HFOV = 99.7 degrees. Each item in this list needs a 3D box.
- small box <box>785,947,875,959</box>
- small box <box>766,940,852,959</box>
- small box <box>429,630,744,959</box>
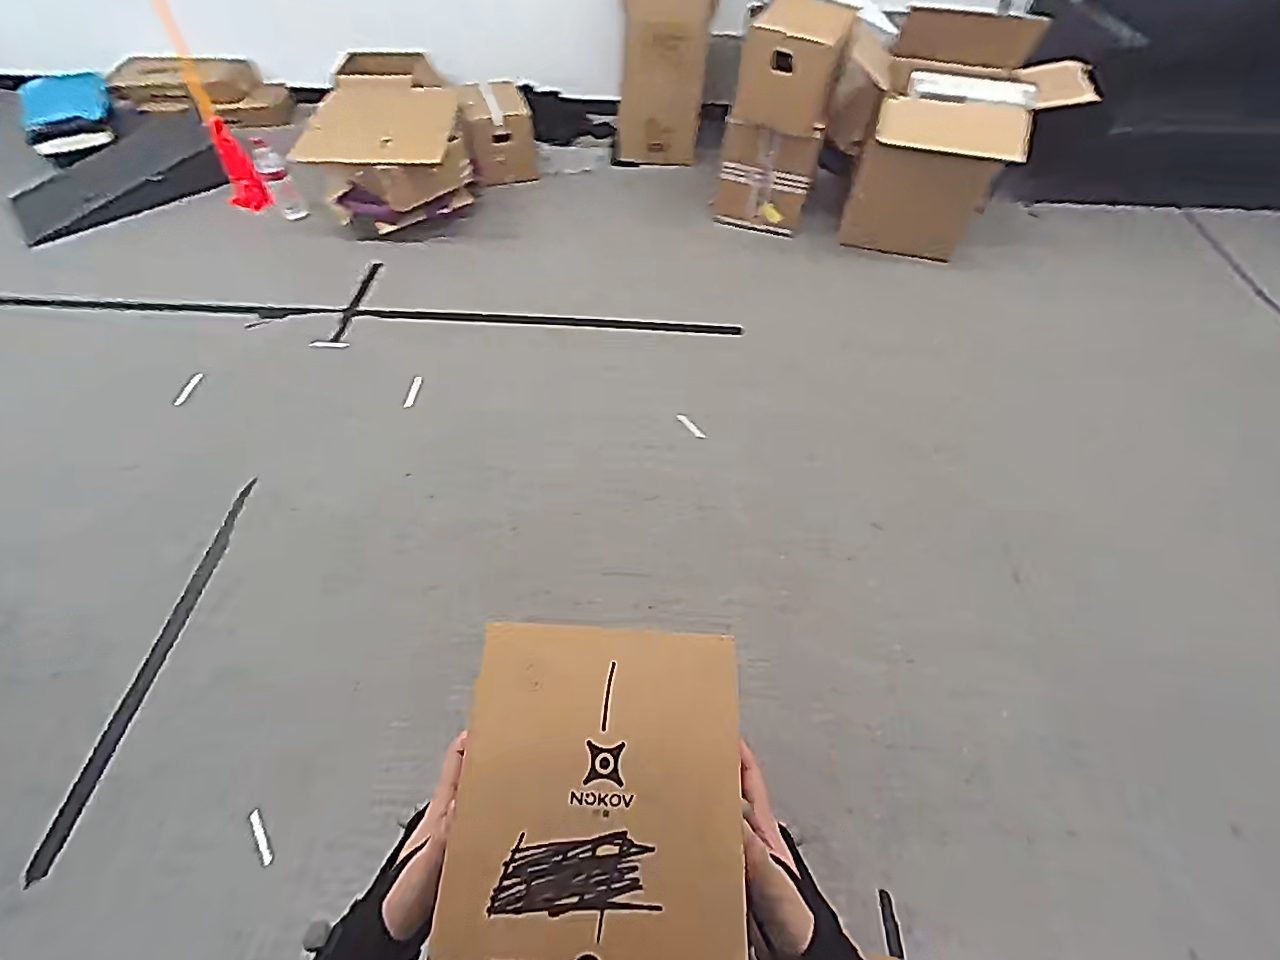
[{"bbox_3d":[0.339,0.889,0.881,0.168,0.176,0.179,5,55,3],"label":"small box"},{"bbox_3d":[0.338,0.990,1.011,0.168,0.176,0.179,3,55,1],"label":"small box"},{"bbox_3d":[-0.026,0.216,0.383,0.168,0.176,0.179,3,60,-1],"label":"small box"}]
